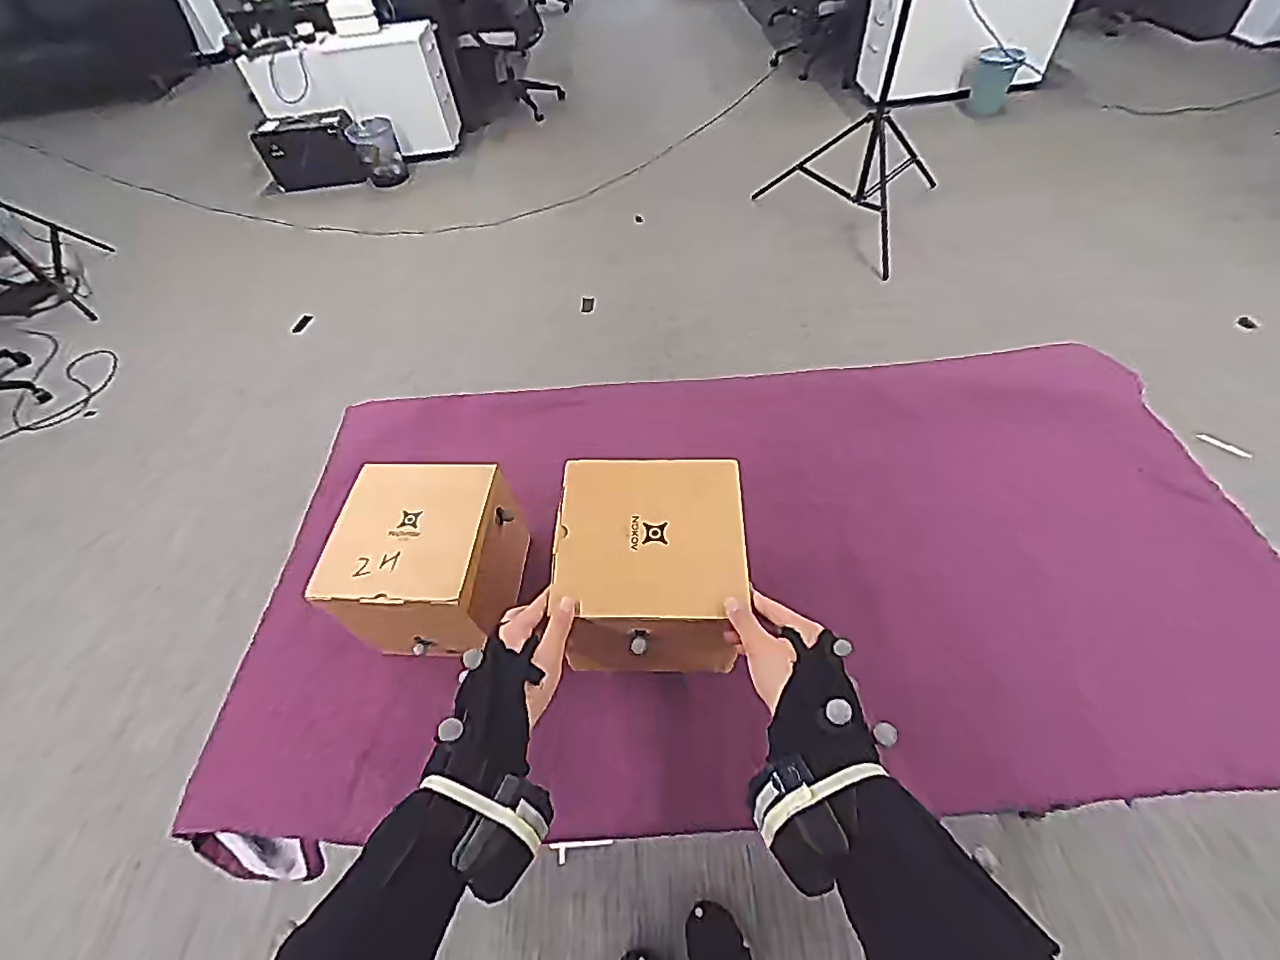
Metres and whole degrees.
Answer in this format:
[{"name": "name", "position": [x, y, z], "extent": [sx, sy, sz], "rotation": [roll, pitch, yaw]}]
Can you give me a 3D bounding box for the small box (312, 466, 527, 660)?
[{"name": "small box", "position": [-0.244, 0.101, 0.657], "extent": [0.168, 0.176, 0.179], "rotation": [0, 53, 6]}]
